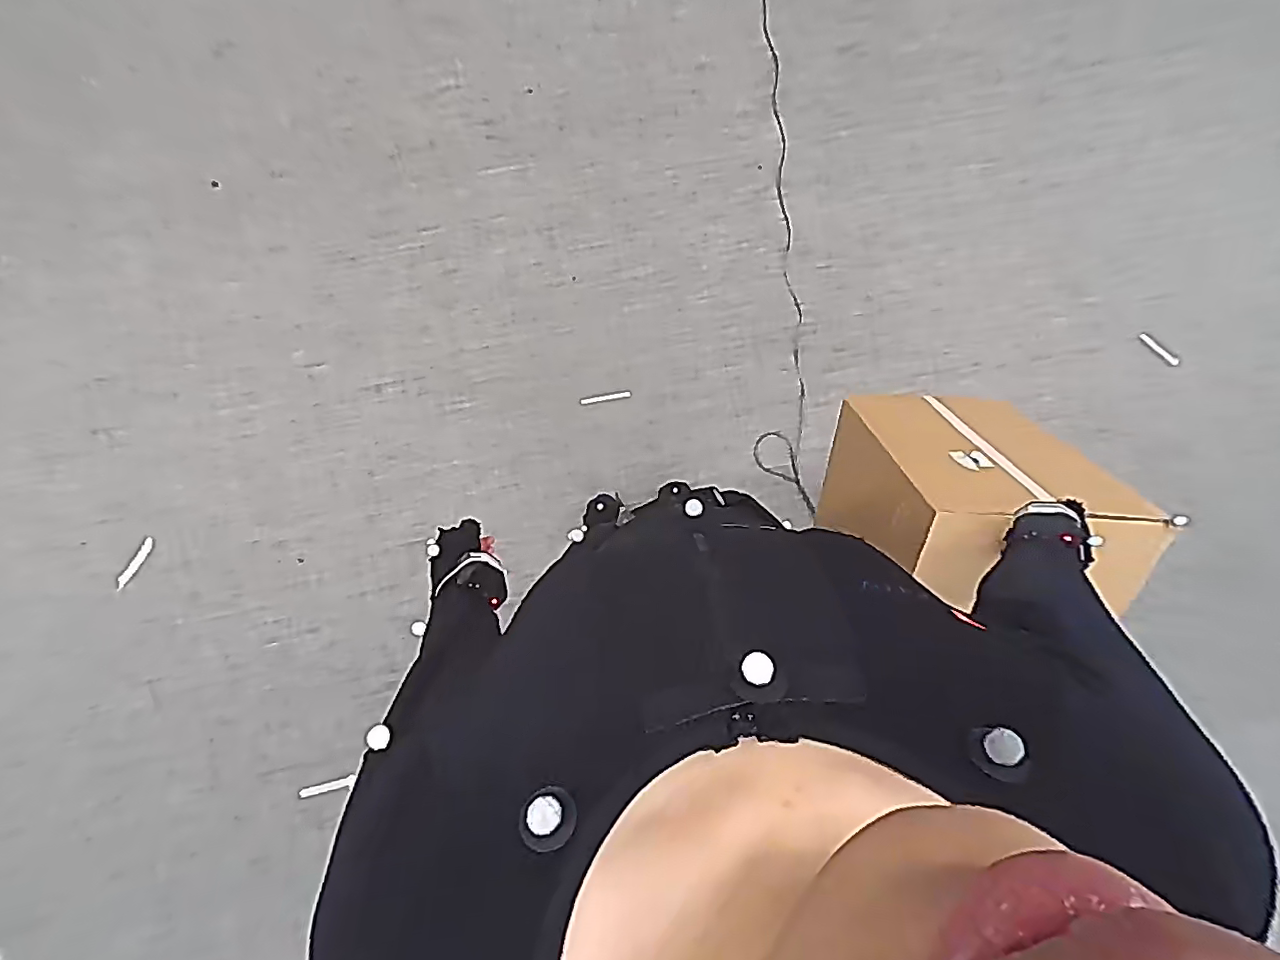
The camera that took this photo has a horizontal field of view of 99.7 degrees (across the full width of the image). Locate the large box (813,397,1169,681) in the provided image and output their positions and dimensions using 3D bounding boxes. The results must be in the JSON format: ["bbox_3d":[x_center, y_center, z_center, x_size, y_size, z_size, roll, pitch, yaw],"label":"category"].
[{"bbox_3d":[0.534,0.082,0.948,0.320,0.408,0.320,3,122,0],"label":"large box"}]
